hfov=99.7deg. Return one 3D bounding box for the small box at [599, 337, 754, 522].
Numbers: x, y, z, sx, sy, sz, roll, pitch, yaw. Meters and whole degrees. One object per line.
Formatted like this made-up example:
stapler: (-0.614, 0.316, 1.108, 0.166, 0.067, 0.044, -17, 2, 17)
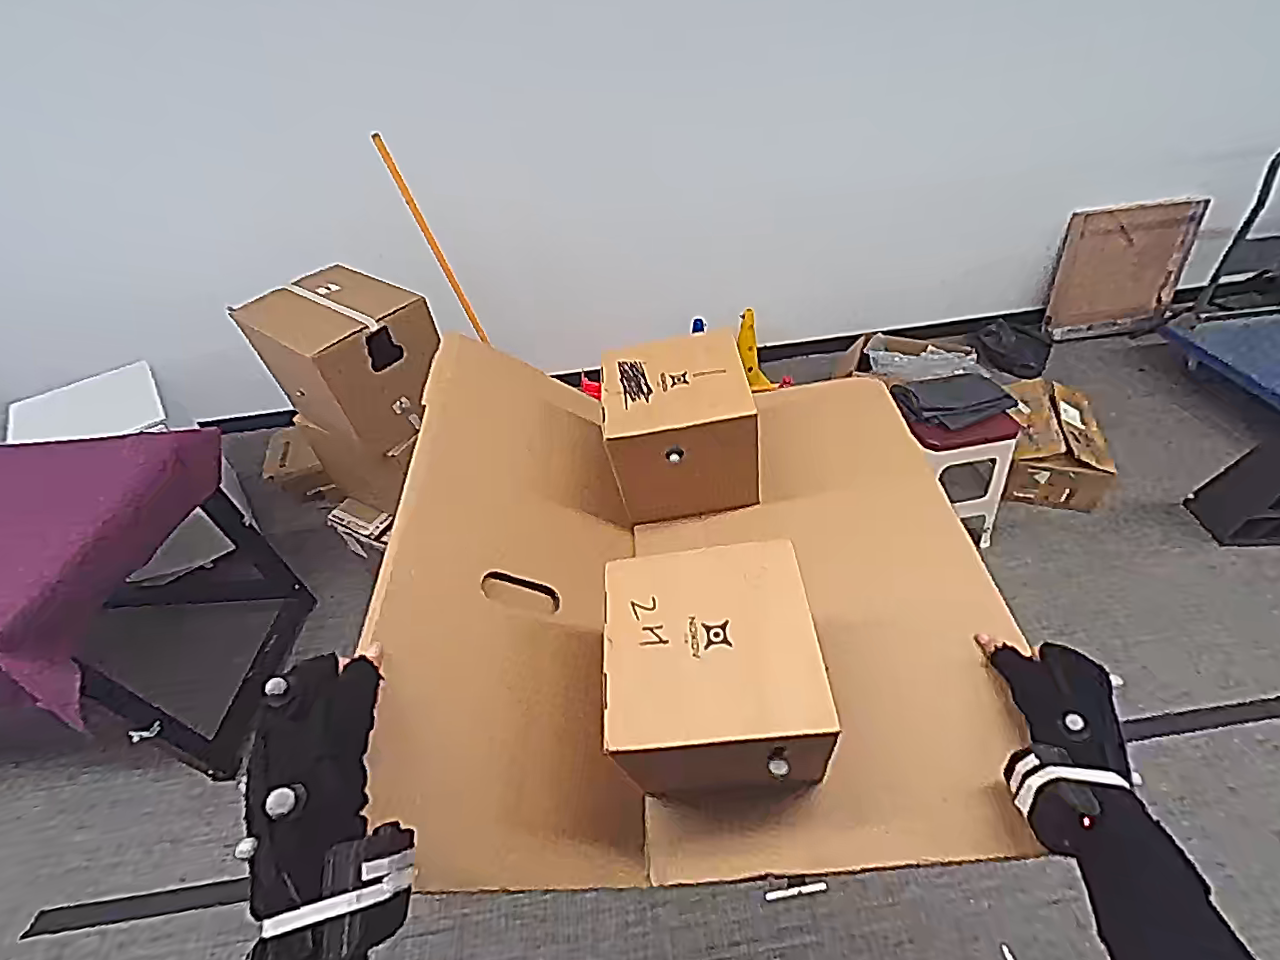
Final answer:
small box: (0.050, -0.061, 0.722, 0.179, 0.176, 0.168, -10, 49, 5)
